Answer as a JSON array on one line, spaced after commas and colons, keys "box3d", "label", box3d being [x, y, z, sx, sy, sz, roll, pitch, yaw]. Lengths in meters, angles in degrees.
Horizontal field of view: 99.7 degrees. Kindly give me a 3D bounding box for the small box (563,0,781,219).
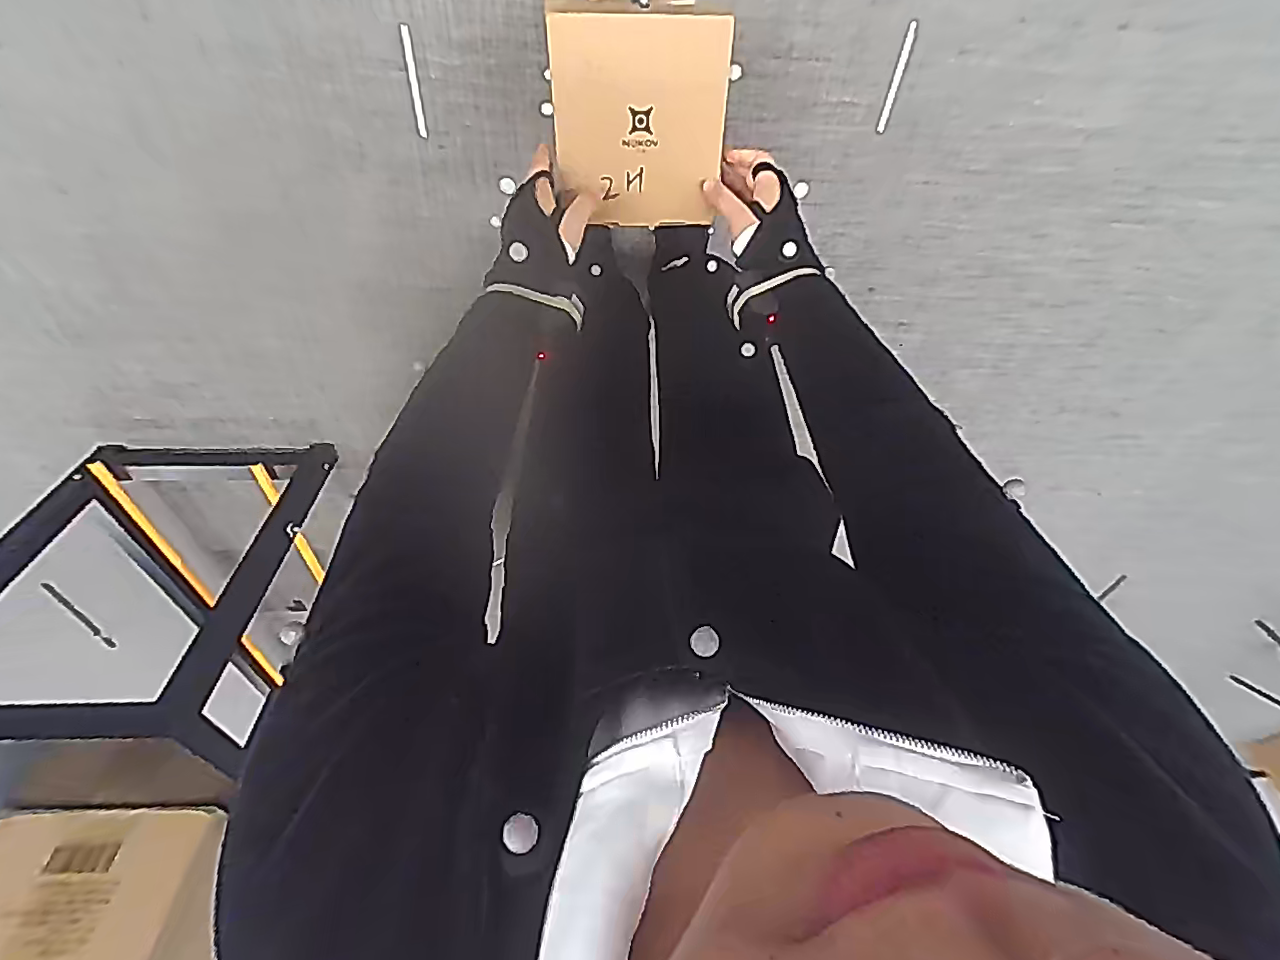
[{"box3d": [0.019, -0.358, 0.499, 0.168, 0.176, 0.179, -1, 133, -1], "label": "small box"}]
